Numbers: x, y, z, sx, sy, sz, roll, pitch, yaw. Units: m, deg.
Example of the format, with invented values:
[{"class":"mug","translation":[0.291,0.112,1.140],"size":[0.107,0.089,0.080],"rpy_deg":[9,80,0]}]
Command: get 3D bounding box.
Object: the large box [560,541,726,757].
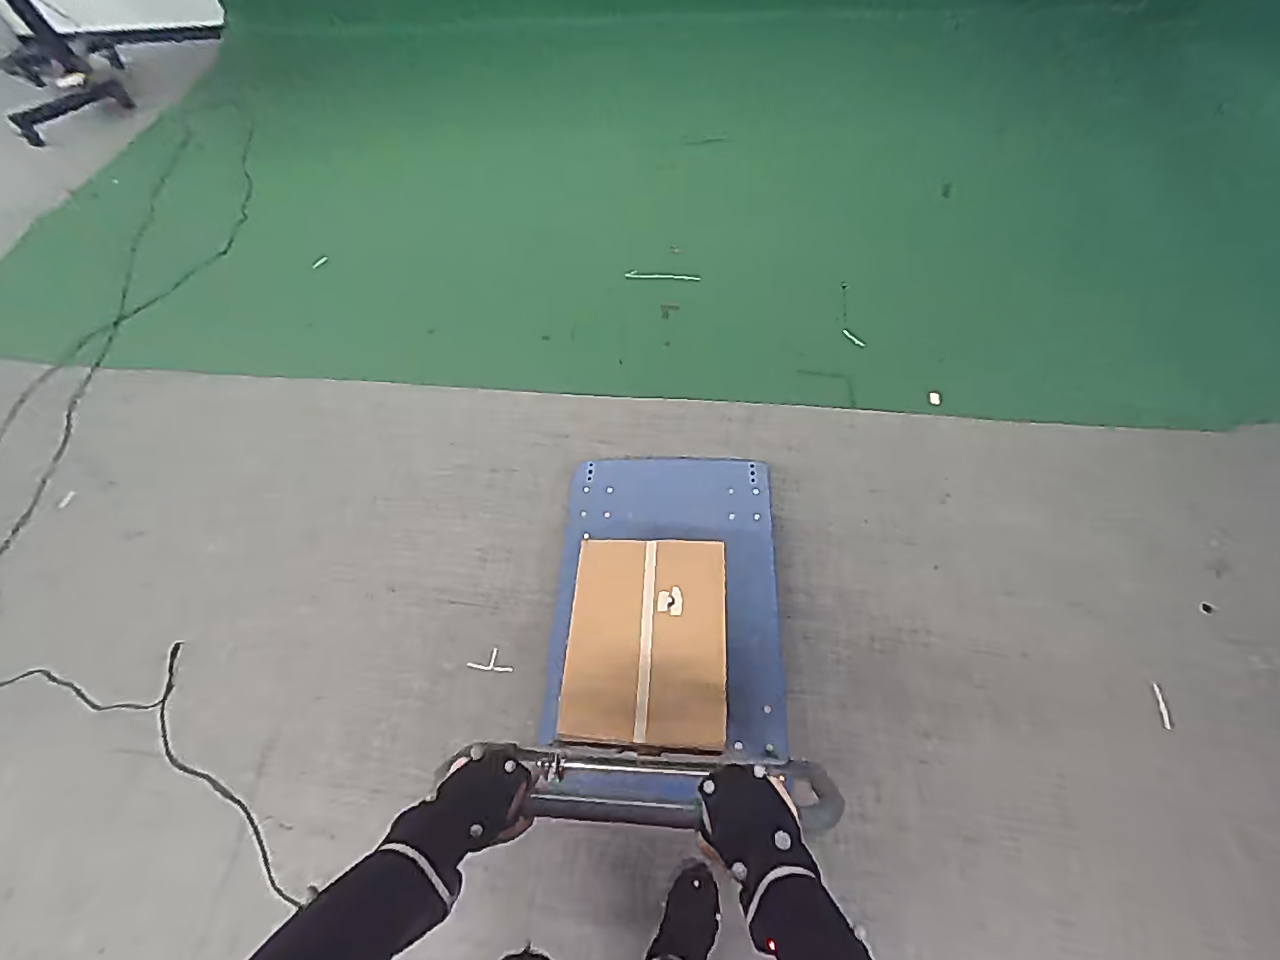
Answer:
[{"class":"large box","translation":[0.027,0.385,1.218],"size":[0.320,0.320,0.408],"rpy_deg":[1,59,6]}]
